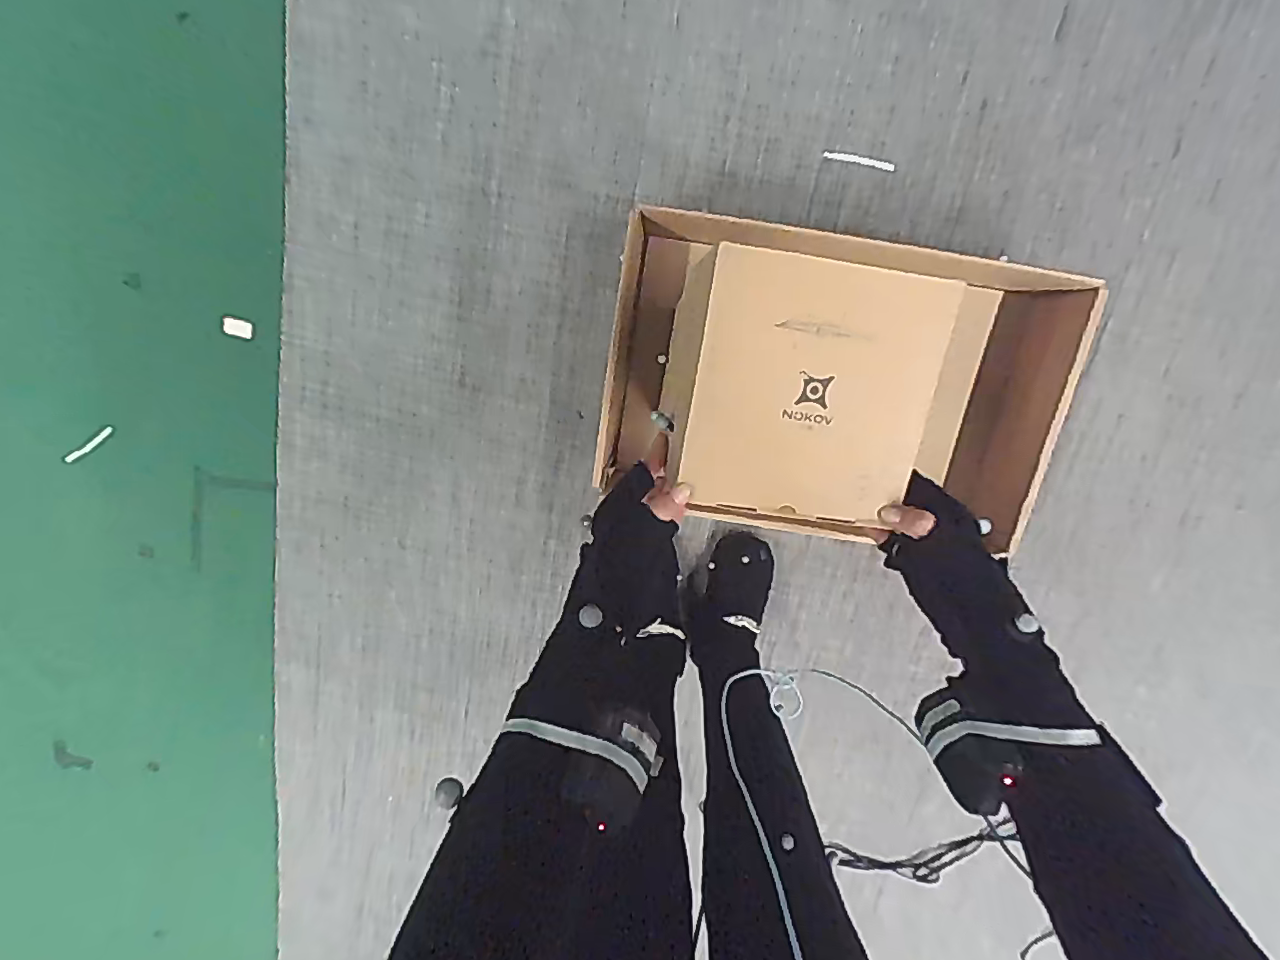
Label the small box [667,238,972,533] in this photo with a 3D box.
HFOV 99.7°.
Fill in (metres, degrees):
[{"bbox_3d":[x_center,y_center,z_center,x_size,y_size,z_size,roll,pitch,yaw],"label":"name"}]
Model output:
[{"bbox_3d":[0.117,-0.077,0.437,0.168,0.176,0.179,8,105,-4],"label":"small box"}]
